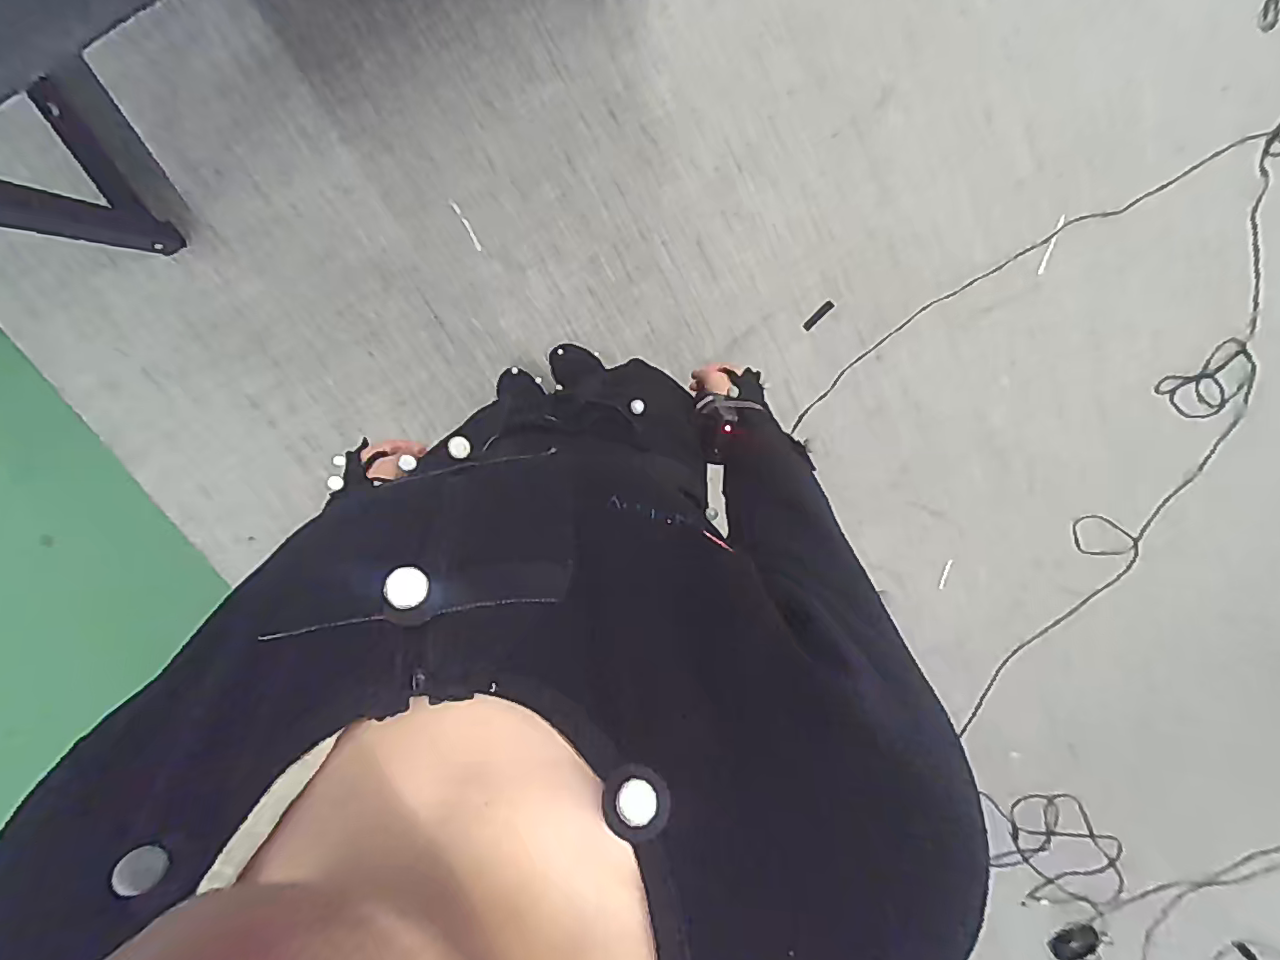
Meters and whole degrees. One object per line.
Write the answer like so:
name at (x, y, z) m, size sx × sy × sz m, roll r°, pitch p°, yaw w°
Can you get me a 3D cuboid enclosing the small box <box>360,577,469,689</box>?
small box at (-0.554, 0.377, 1.363) m, size 0.179 × 0.176 × 0.168 m, roll -36°, pitch 104°, yaw 6°
